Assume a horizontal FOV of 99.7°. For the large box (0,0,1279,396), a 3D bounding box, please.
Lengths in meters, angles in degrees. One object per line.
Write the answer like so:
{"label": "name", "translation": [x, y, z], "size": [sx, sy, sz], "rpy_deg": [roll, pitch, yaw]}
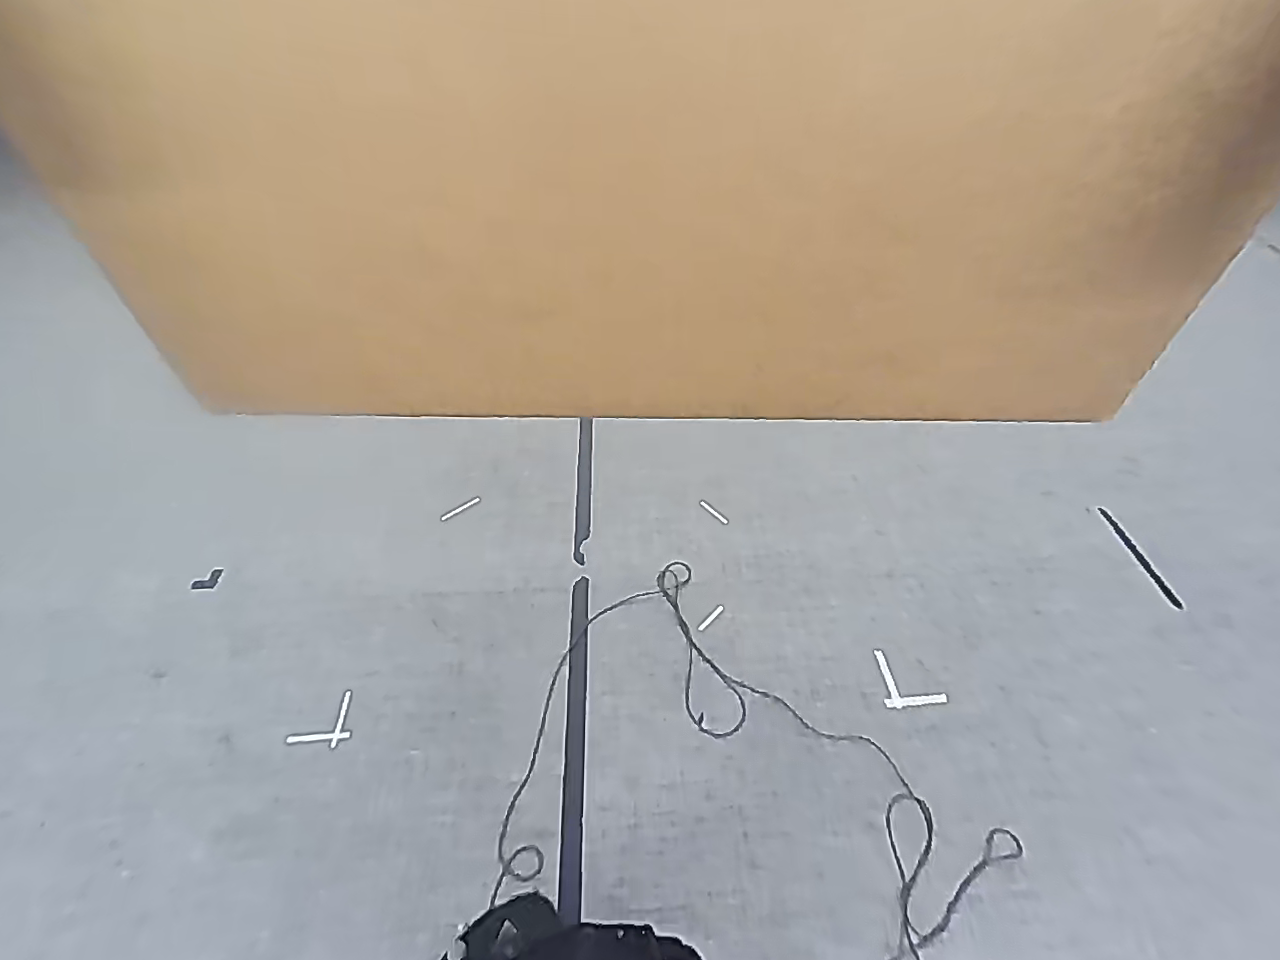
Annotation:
{"label": "large box", "translation": [0.007, -0.249, 0.248], "size": [0.408, 0.320, 0.320], "rpy_deg": [1, 45, 1]}
